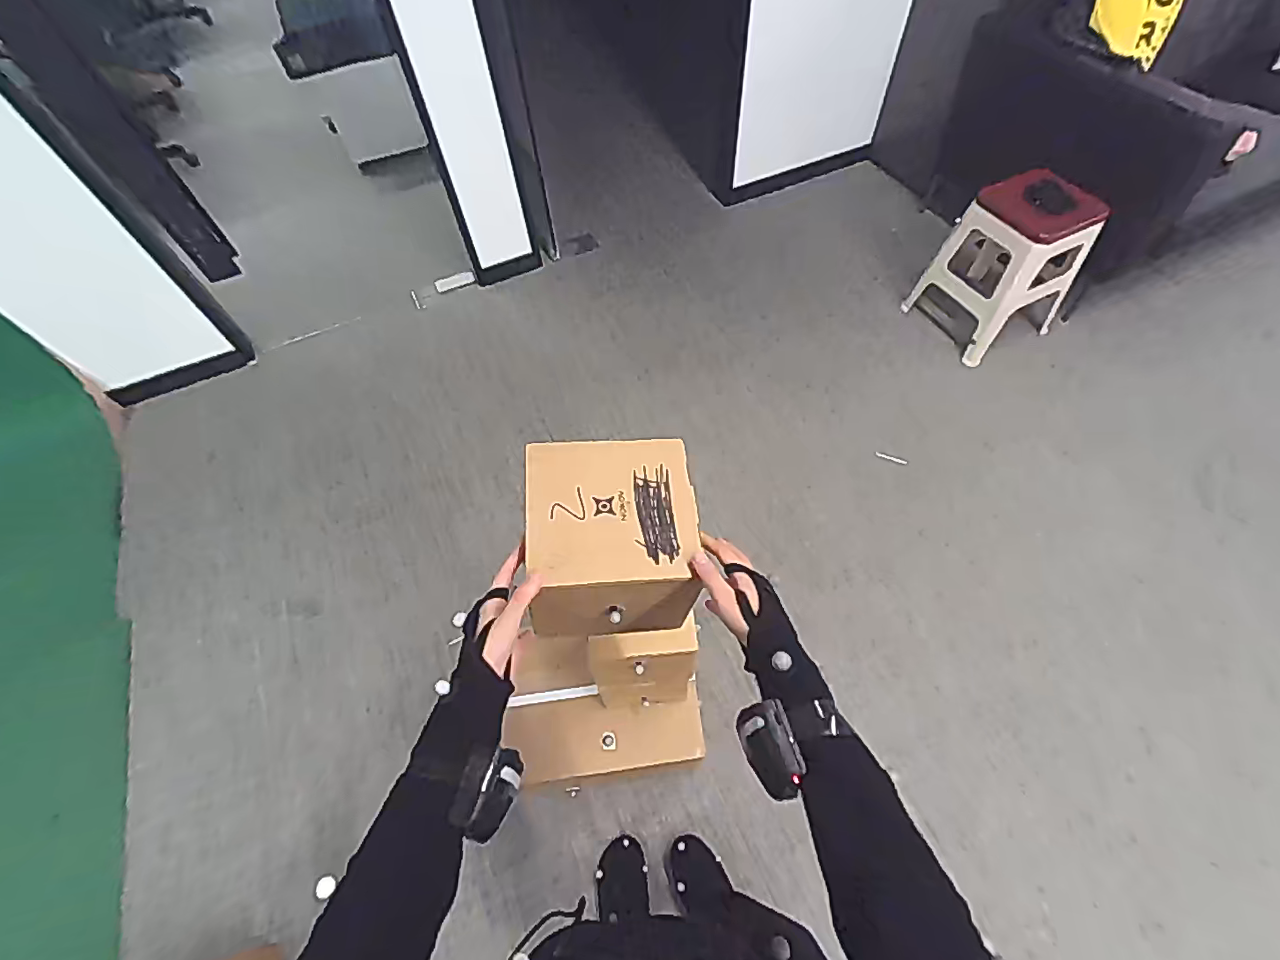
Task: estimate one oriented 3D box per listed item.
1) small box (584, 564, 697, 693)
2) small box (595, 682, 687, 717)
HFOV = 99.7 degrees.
[{"bbox_3d":[-0.001,0.261,0.938,0.179,0.176,0.168,-5,55,0],"label":"small box"},{"bbox_3d":[-0.003,0.354,1.072,0.168,0.176,0.179,-6,55,-1],"label":"small box"}]
